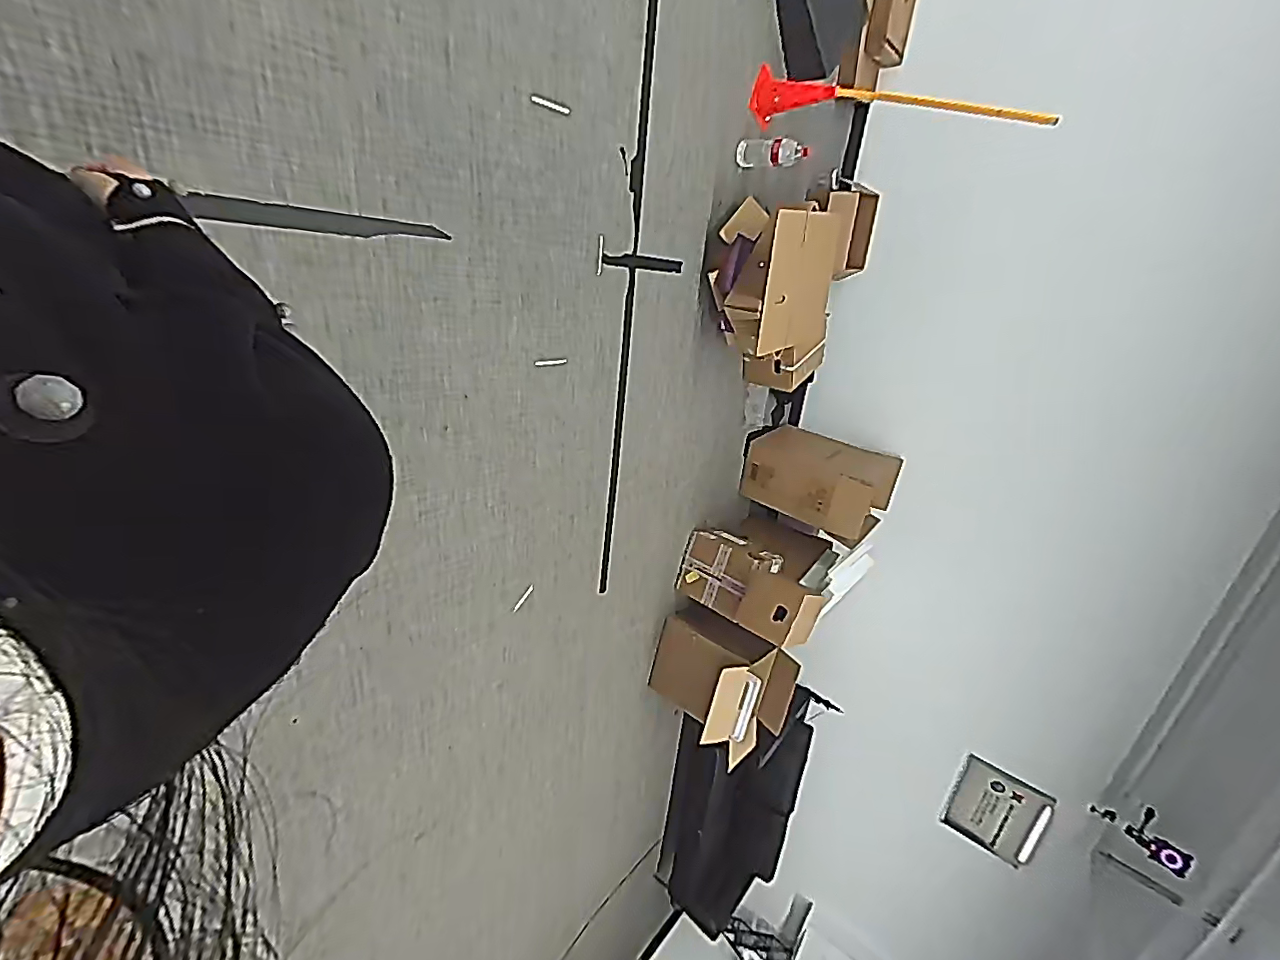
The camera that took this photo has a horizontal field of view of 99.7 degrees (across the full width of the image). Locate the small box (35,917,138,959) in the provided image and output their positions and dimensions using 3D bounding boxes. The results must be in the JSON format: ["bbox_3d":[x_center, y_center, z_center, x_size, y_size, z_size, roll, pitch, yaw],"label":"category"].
[{"bbox_3d":[-1.264,1.159,1.222,0.179,0.176,0.168,-7,113,-54],"label":"small box"}]

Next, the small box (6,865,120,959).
[{"bbox_3d":[-1.391,1.100,1.308,0.179,0.176,0.168,-12,118,-52],"label":"small box"}]
